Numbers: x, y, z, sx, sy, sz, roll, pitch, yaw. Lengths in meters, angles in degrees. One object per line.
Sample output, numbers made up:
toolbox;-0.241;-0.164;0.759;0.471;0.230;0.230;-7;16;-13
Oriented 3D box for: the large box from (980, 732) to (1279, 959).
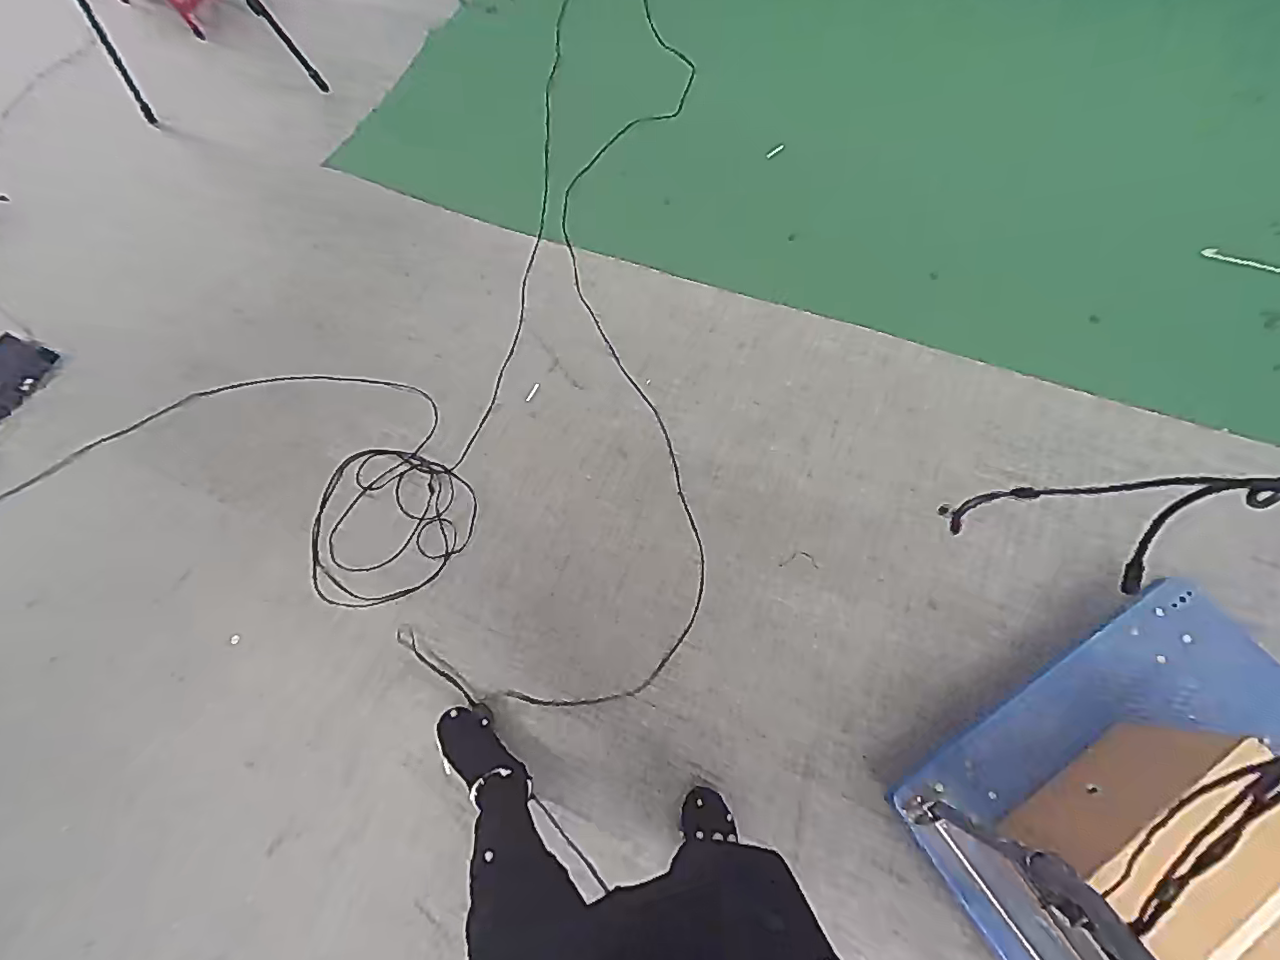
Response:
large box;0.911;0.696;0.932;0.408;0.320;0.320;-32;70;-8
